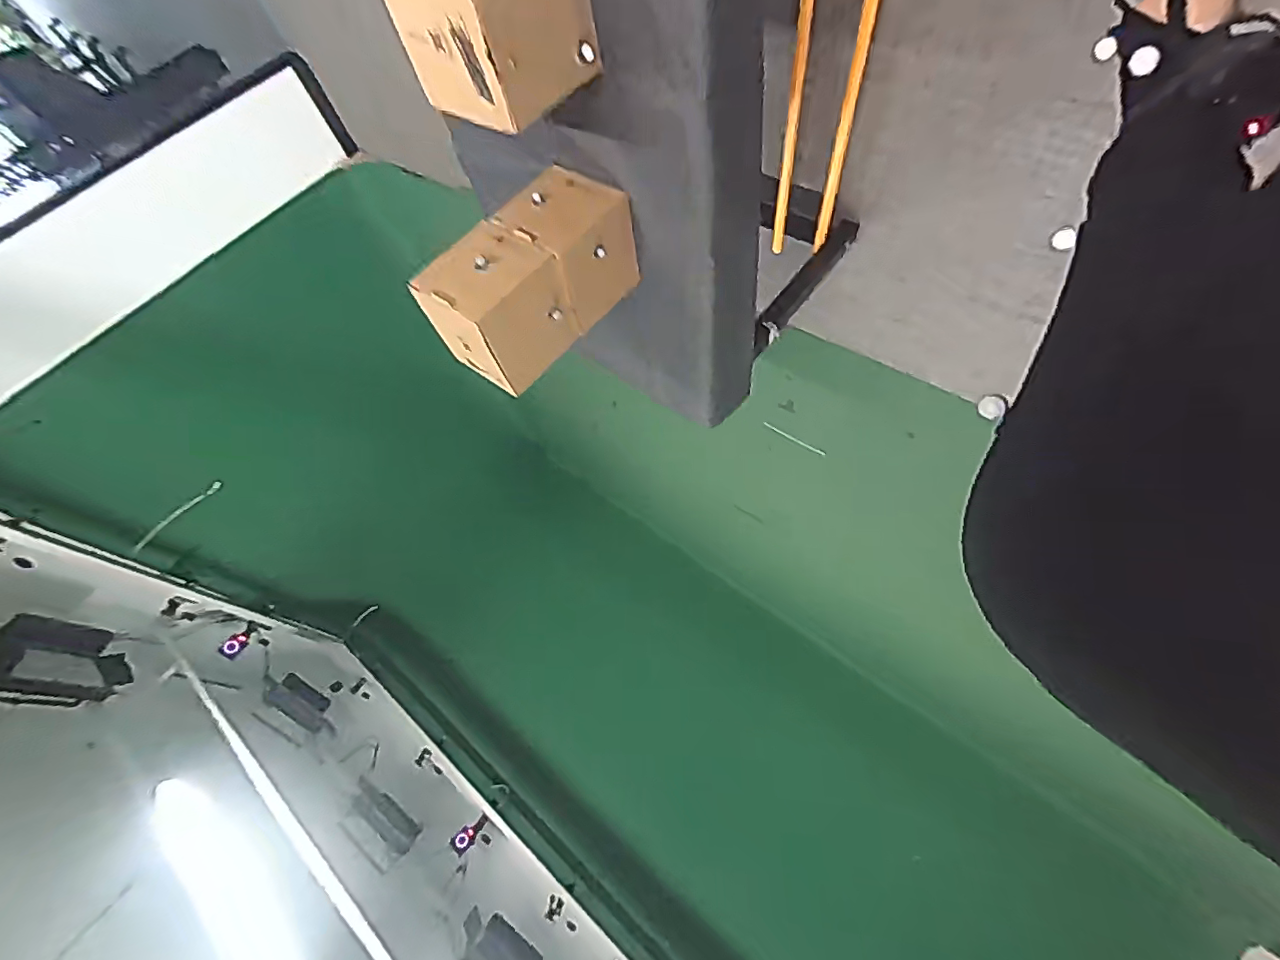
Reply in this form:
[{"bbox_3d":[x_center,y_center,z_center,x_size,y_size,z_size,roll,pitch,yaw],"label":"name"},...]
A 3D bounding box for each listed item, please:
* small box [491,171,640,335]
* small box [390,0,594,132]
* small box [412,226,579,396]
[{"bbox_3d":[-0.118,-0.395,0.937,0.168,0.176,0.179,34,161,23],"label":"small box"},{"bbox_3d":[-0.173,-0.565,0.650,0.179,0.176,0.168,33,160,24],"label":"small box"},{"bbox_3d":[-0.226,-0.280,0.890,0.168,0.176,0.179,33,160,24],"label":"small box"}]
